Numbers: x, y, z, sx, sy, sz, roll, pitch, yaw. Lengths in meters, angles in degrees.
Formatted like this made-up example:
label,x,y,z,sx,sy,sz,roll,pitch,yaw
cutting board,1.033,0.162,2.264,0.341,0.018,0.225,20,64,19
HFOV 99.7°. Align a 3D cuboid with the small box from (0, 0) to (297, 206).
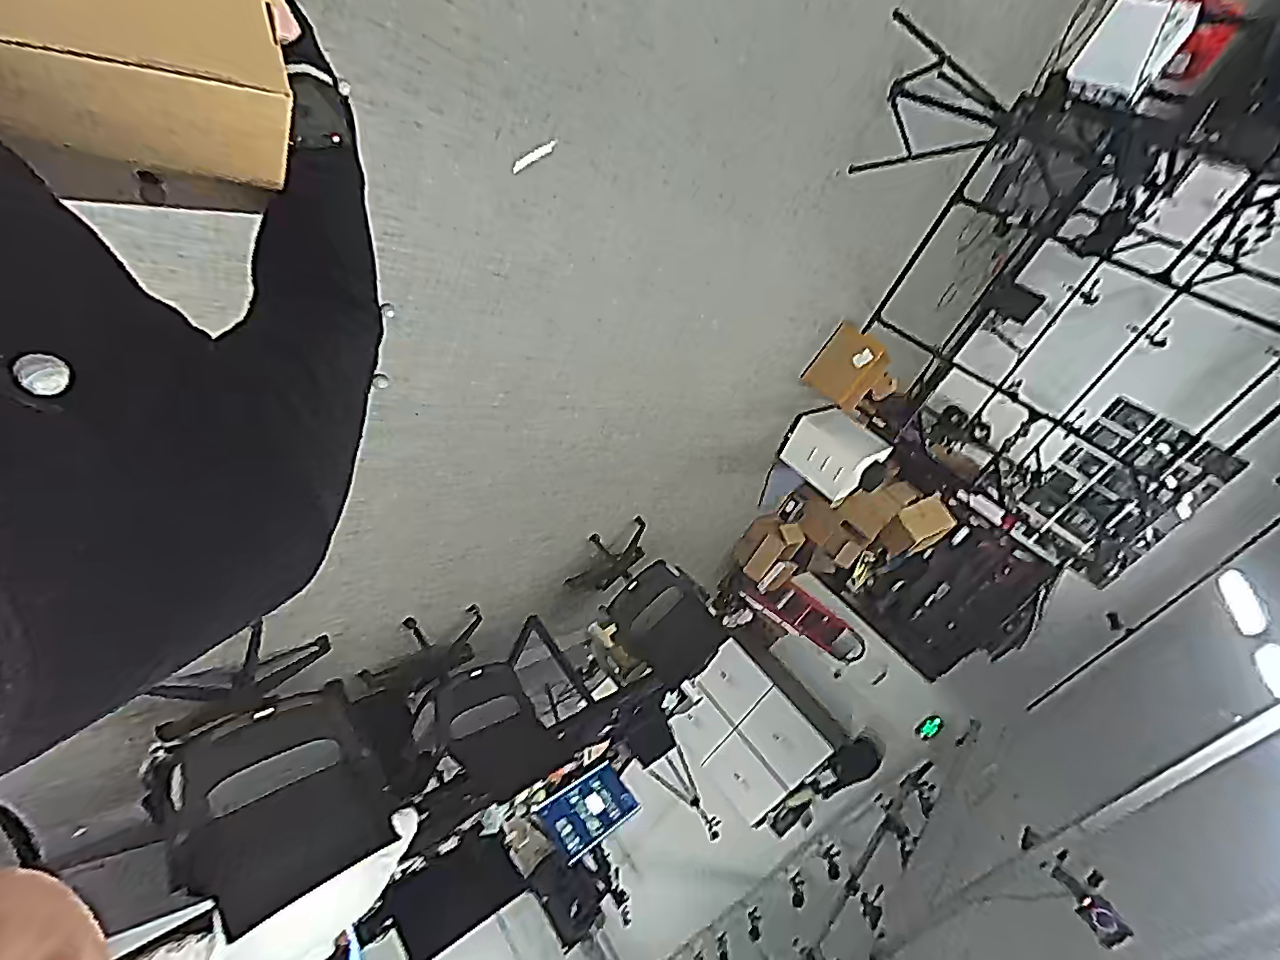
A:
label,x,y,z,sx,sy,sz,roll,pitch,yaw
small box,-0.363,-0.313,0.375,0.179,0.168,0.176,-15,-176,-36
